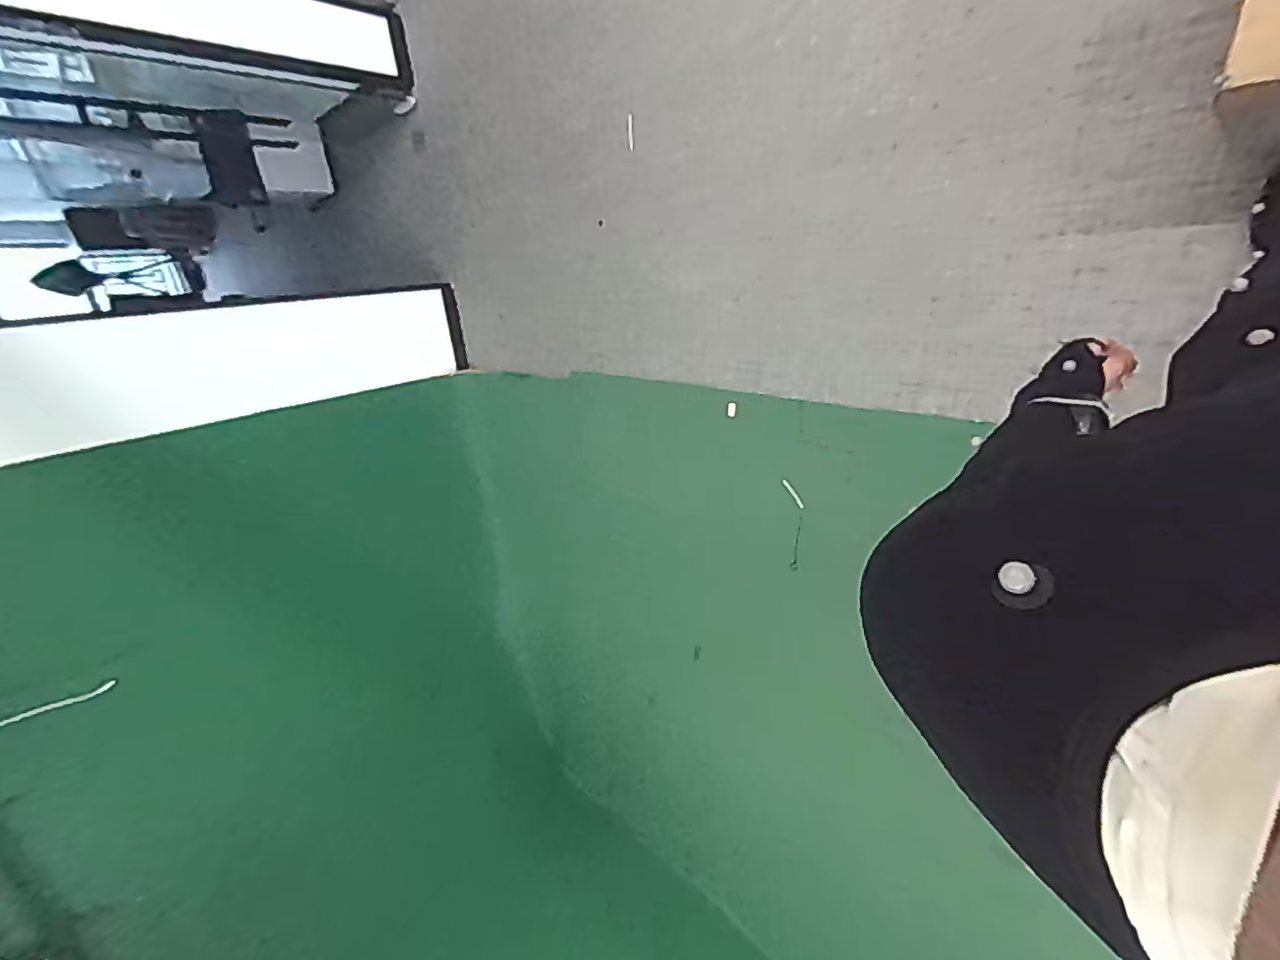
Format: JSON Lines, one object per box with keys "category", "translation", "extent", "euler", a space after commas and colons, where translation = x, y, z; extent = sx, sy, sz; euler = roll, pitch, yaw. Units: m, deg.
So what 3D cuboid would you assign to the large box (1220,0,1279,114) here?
{"category": "large box", "translation": [1.132, -0.755, 0.748], "extent": [0.408, 0.320, 0.320], "euler": [14, 117, 42]}
